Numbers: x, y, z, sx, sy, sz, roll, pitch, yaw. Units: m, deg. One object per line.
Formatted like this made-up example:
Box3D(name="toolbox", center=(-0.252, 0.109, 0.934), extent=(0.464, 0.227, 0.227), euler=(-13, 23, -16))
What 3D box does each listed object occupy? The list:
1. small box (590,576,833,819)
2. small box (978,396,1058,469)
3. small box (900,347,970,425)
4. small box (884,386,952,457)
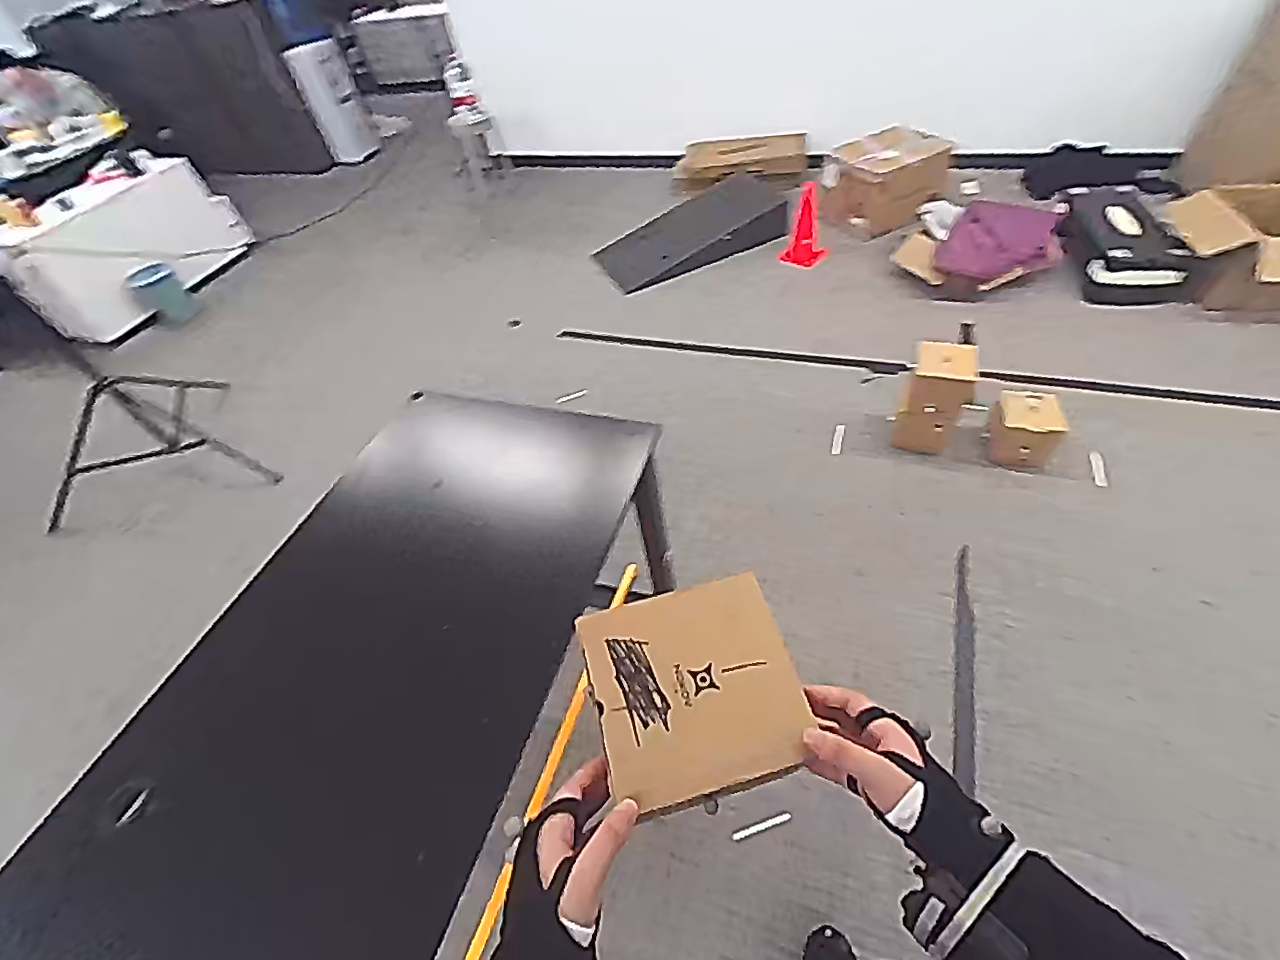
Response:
Box3D(name="small box", center=(0.058, 0.221, 0.537), extent=(0.179, 0.176, 0.168), euler=(-13, 56, -7))
Box3D(name="small box", center=(1.251, -0.155, 1.800), extent=(0.168, 0.176, 0.179), euler=(8, 53, 16))
Box3D(name="small box", center=(0.956, -0.307, 1.758), extent=(0.168, 0.176, 0.179), euler=(10, 54, 19))
Box3D(name="small box", center=(0.968, -0.201, 1.881), extent=(0.179, 0.176, 0.168), euler=(12, 53, 19))
